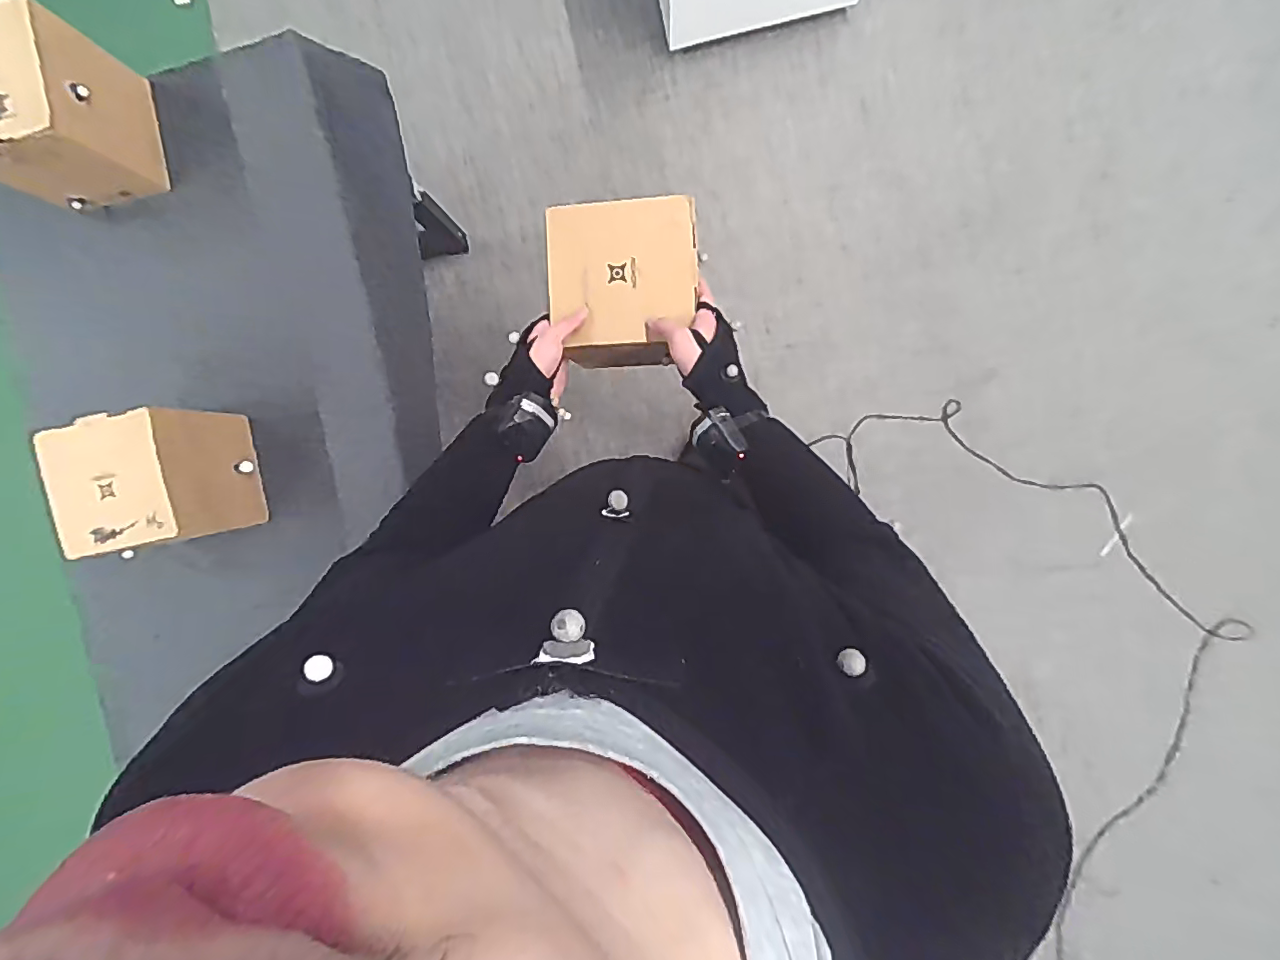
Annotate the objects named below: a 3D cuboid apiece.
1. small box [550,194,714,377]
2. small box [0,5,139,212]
[{"bbox_3d":[-0.003,-0.231,0.684,0.179,0.176,0.168,-4,91,6],"label":"small box"},{"bbox_3d":[-0.836,-0.487,0.729,0.168,0.176,0.179,-11,91,1],"label":"small box"}]
